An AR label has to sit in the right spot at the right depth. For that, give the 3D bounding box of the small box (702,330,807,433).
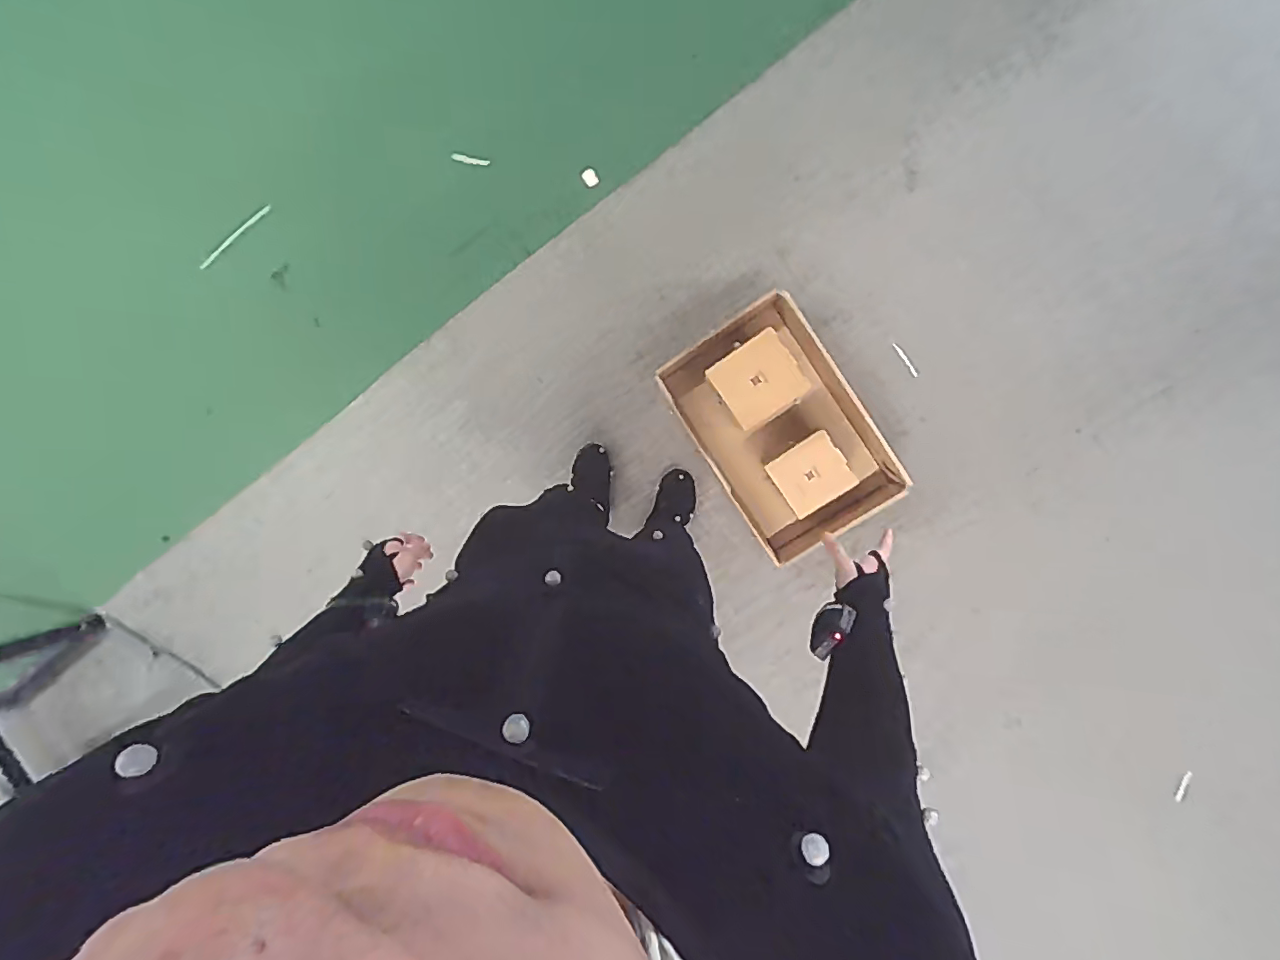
[{"bbox_3d":[0.264,-0.221,1.268,0.179,0.176,0.168,-34,90,8],"label":"small box"}]
